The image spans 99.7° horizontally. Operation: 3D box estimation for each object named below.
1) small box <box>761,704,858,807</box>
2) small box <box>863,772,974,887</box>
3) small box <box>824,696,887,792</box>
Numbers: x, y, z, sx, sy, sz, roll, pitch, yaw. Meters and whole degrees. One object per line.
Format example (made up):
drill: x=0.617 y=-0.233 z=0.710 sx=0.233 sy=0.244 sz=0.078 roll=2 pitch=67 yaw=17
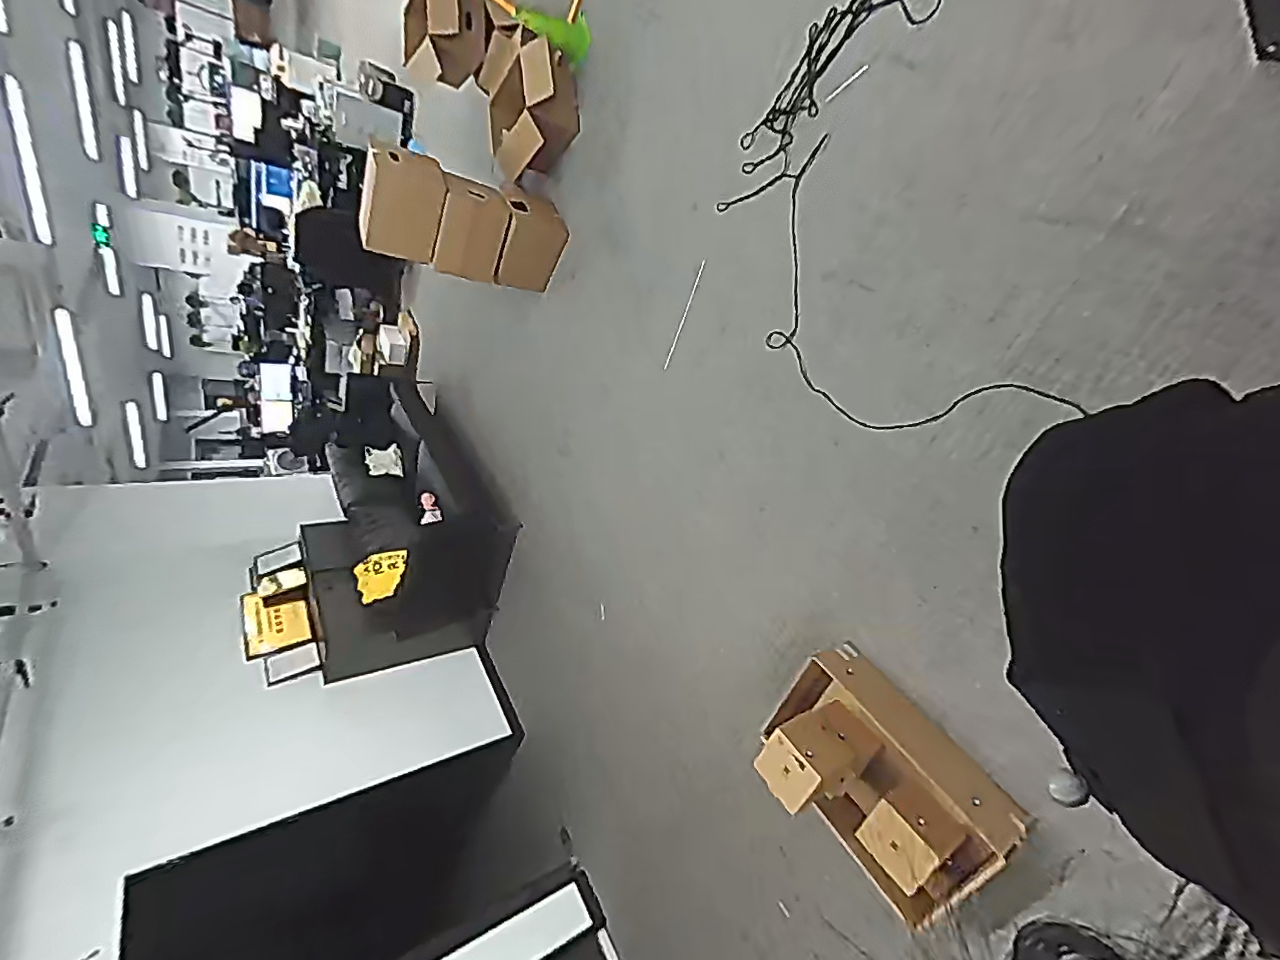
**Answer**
small box: x=0.481 y=0.773 z=1.529 sx=0.168 sy=0.176 sz=0.179 roll=45 pitch=127 yaw=40
small box: x=0.751 y=0.932 z=1.456 sx=0.179 sy=0.176 sz=0.168 roll=44 pitch=125 yaw=43
small box: x=0.607 y=0.788 z=1.635 sx=0.179 sy=0.176 sz=0.168 roll=41 pitch=123 yaw=43
